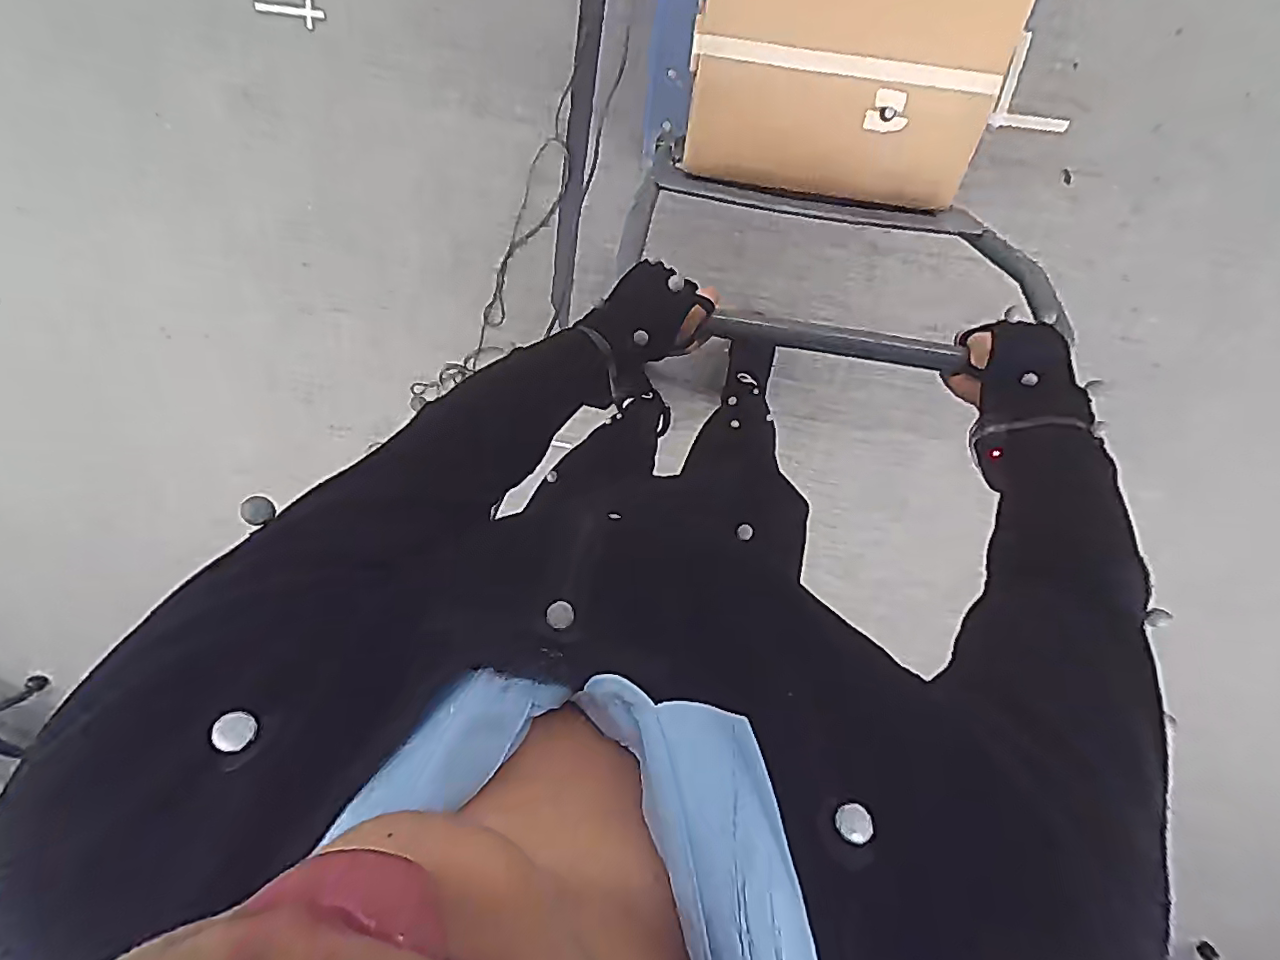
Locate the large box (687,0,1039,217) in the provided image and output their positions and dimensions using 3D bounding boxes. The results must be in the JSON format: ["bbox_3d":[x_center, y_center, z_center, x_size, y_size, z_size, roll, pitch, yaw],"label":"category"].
[{"bbox_3d":[0.290,-0.622,0.833,0.408,0.320,0.320,8,127,0],"label":"large box"}]
